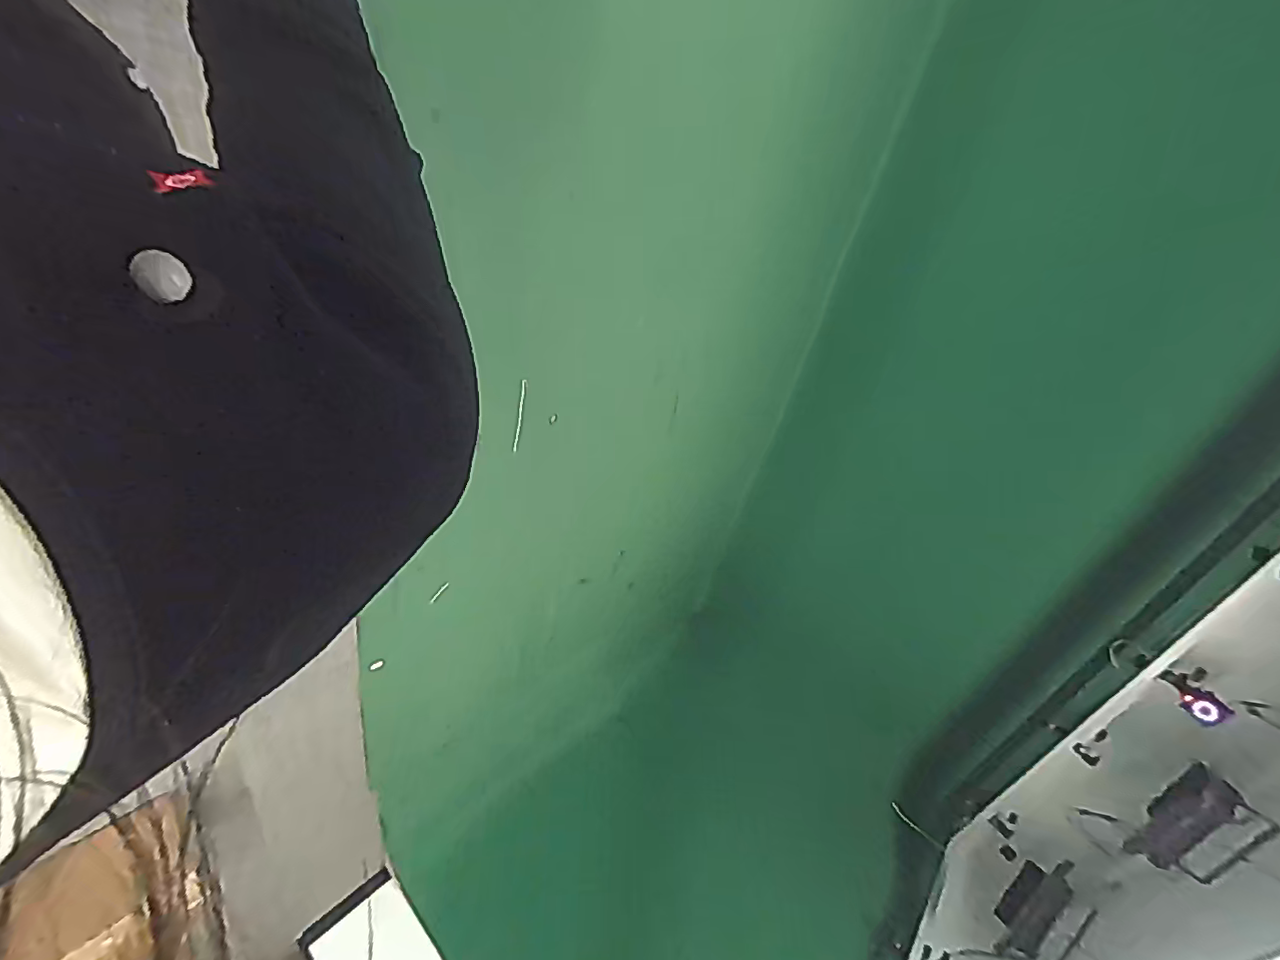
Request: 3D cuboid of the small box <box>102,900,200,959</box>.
[{"bbox_3d":[-1.417,1.391,1.570,0.179,0.176,0.168,-24,133,-43],"label":"small box"}]
